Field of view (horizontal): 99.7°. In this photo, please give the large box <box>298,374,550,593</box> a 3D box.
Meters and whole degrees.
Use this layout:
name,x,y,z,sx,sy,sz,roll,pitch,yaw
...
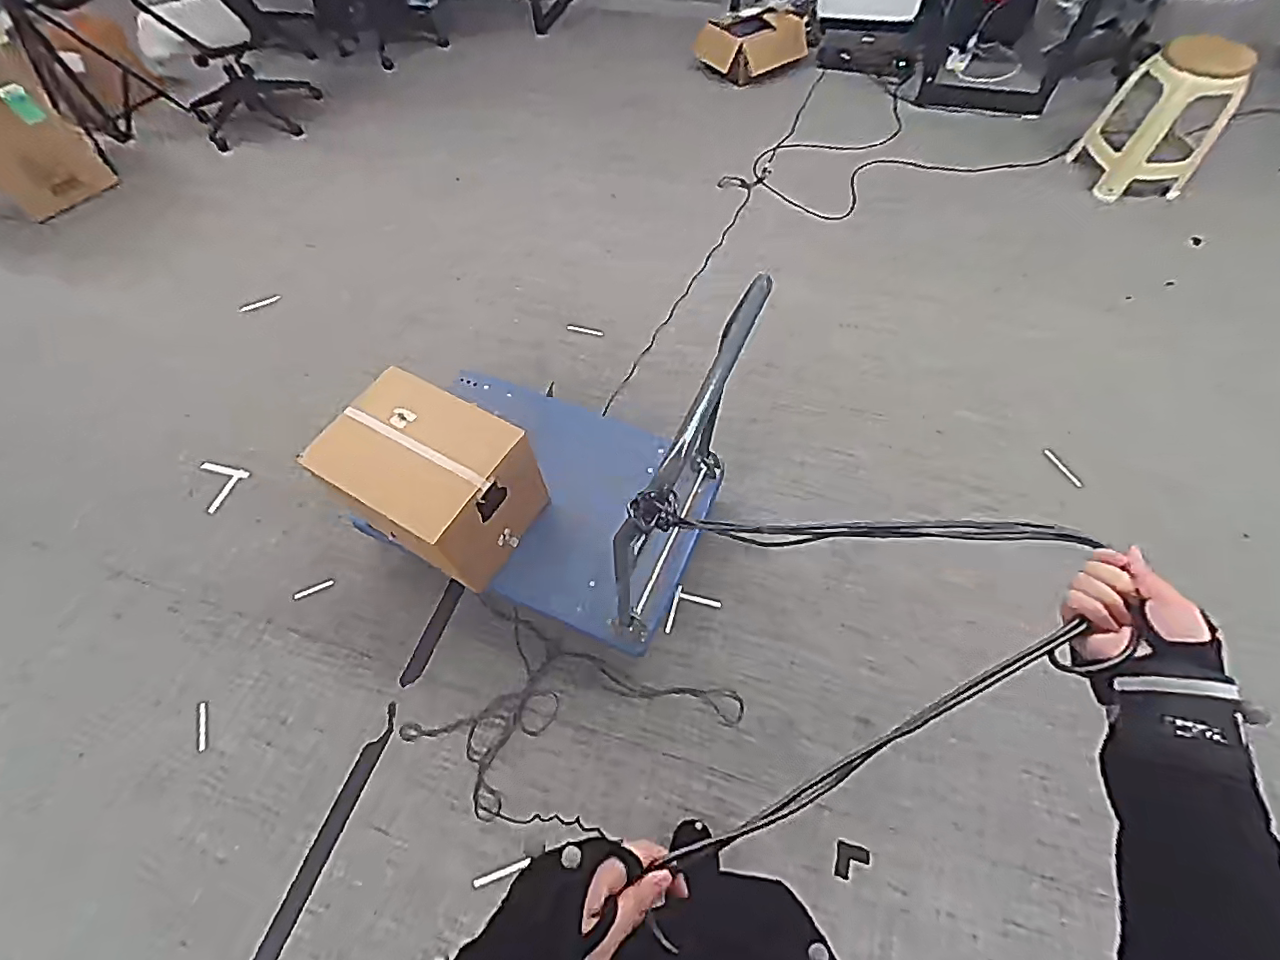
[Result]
name,x,y,z,sx,sy,sz,roll,pitch,yaw
large box,-0.487,0.013,1.301,0.408,0.320,0.320,26,64,17
